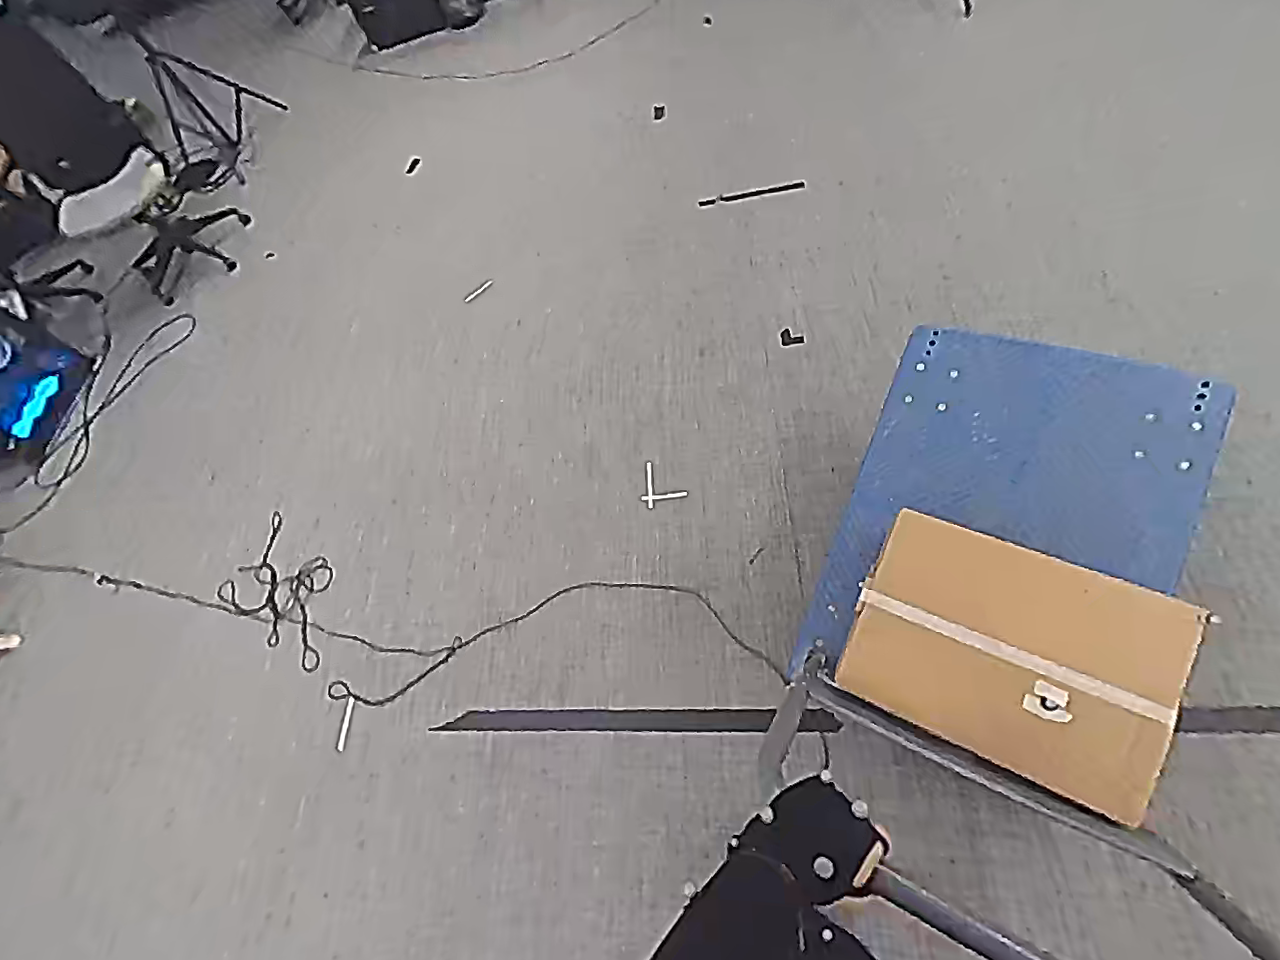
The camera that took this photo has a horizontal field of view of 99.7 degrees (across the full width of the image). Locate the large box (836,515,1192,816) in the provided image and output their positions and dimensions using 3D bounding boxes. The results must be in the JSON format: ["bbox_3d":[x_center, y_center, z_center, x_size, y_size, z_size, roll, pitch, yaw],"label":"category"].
[{"bbox_3d":[0.596,0.291,0.959,0.408,0.320,0.320,21,86,23],"label":"large box"}]
